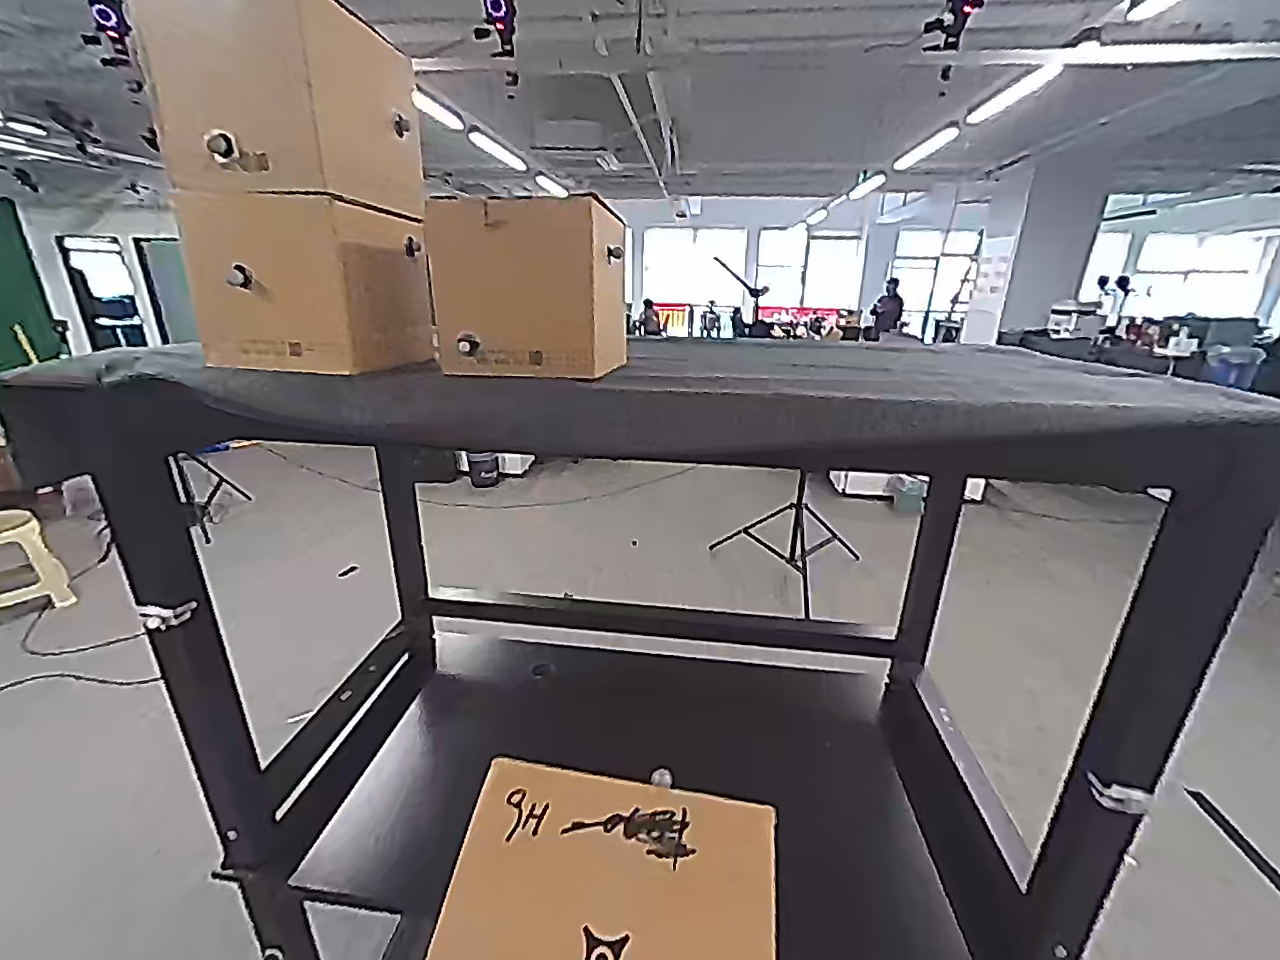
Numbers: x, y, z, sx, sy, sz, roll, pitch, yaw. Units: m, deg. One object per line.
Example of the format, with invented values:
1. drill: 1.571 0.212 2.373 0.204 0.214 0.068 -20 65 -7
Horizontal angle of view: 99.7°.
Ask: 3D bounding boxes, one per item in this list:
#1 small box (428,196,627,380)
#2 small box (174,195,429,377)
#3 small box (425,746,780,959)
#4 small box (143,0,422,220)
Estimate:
1. small box: -0.108 -0.205 0.601 0.168 0.176 0.179 4 17 8
2. small box: -0.352 -0.209 0.605 0.168 0.176 0.179 4 17 5
3. small box: -0.018 0.281 0.308 0.168 0.176 0.179 7 48 6
4. small box: -0.343 -0.364 0.555 0.168 0.176 0.179 3 18 8
